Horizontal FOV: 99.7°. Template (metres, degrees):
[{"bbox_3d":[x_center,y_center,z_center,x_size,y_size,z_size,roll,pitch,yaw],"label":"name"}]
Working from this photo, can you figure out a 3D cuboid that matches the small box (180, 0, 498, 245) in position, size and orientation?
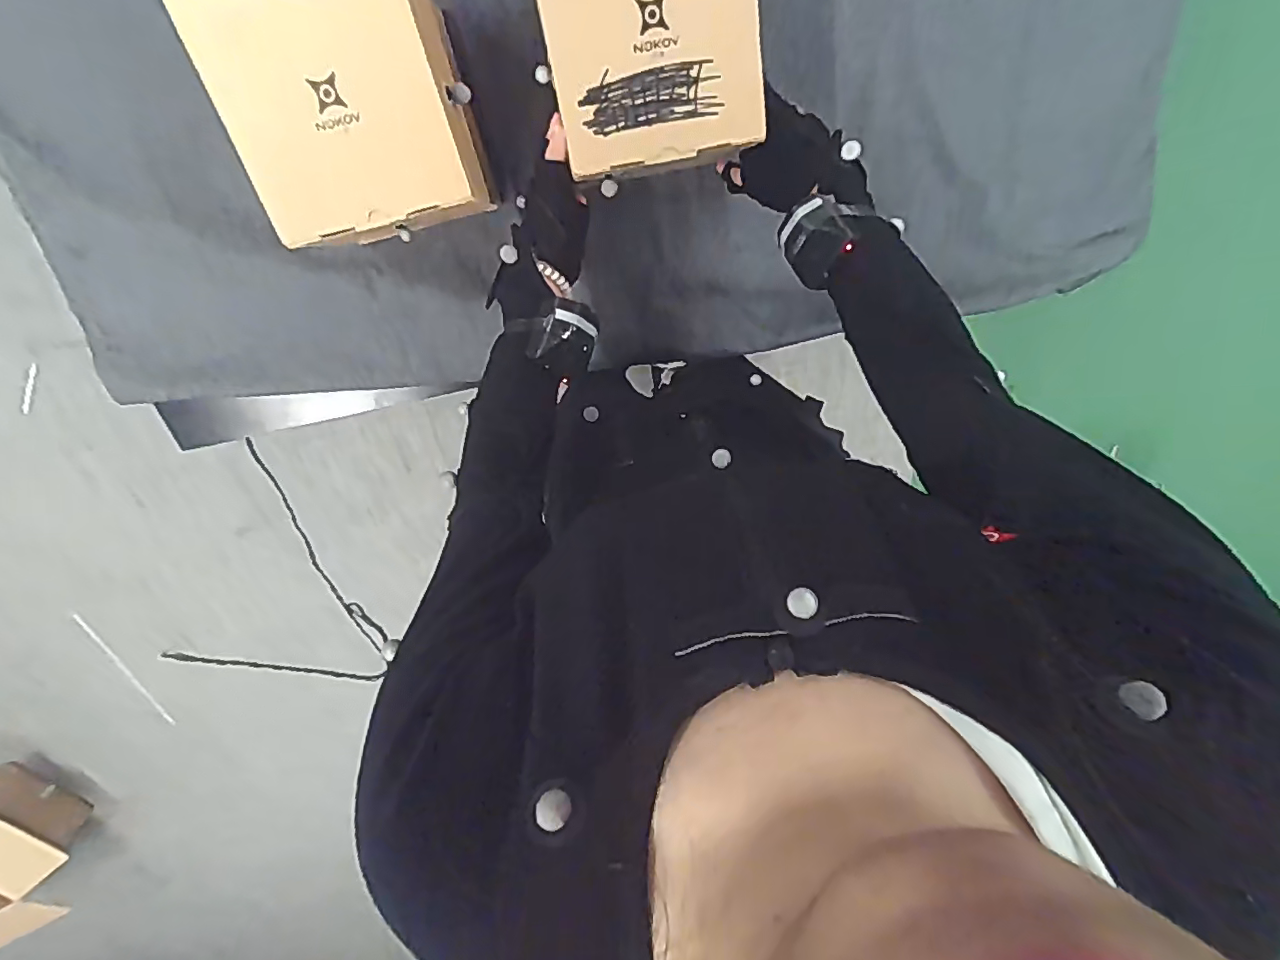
[{"bbox_3d":[-0.243,-0.327,0.495,0.168,0.176,0.179,-14,116,1],"label":"small box"}]
